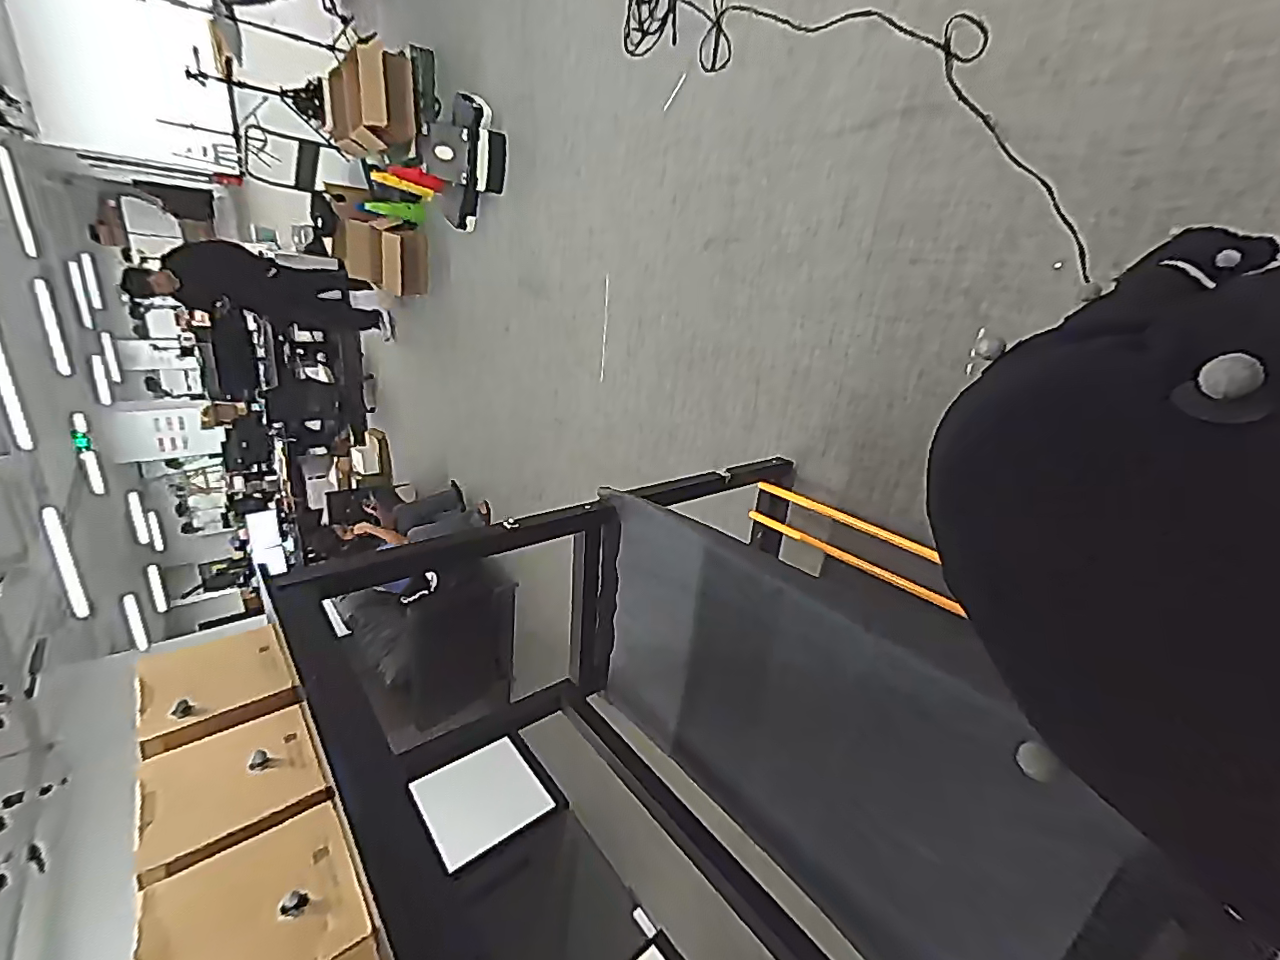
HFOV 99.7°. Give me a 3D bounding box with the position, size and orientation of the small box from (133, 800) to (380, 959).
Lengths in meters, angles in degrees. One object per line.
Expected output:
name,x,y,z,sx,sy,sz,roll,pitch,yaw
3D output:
small box,-0.357,0.465,0.521,0.168,0.176,0.179,26,119,45
